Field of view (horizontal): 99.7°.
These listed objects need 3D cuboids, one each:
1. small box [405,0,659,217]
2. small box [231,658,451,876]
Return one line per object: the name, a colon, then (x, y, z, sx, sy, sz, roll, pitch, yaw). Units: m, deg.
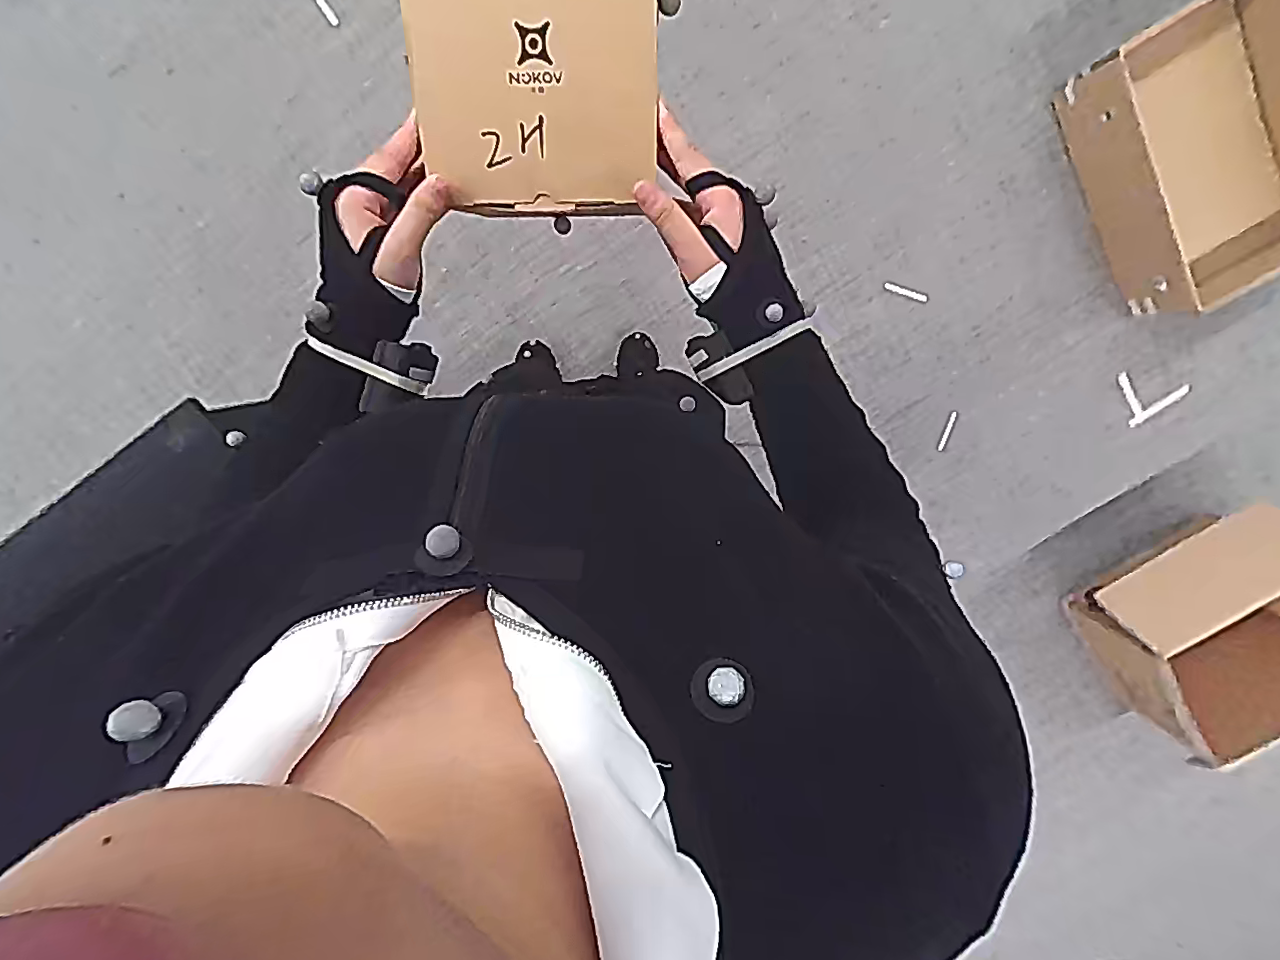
small box: (-0.071, -0.314, 0.430, 0.168, 0.176, 0.179, 0, 113, 0)
small box: (-0.399, 0.390, 0.760, 0.168, 0.176, 0.179, -35, 102, 6)
